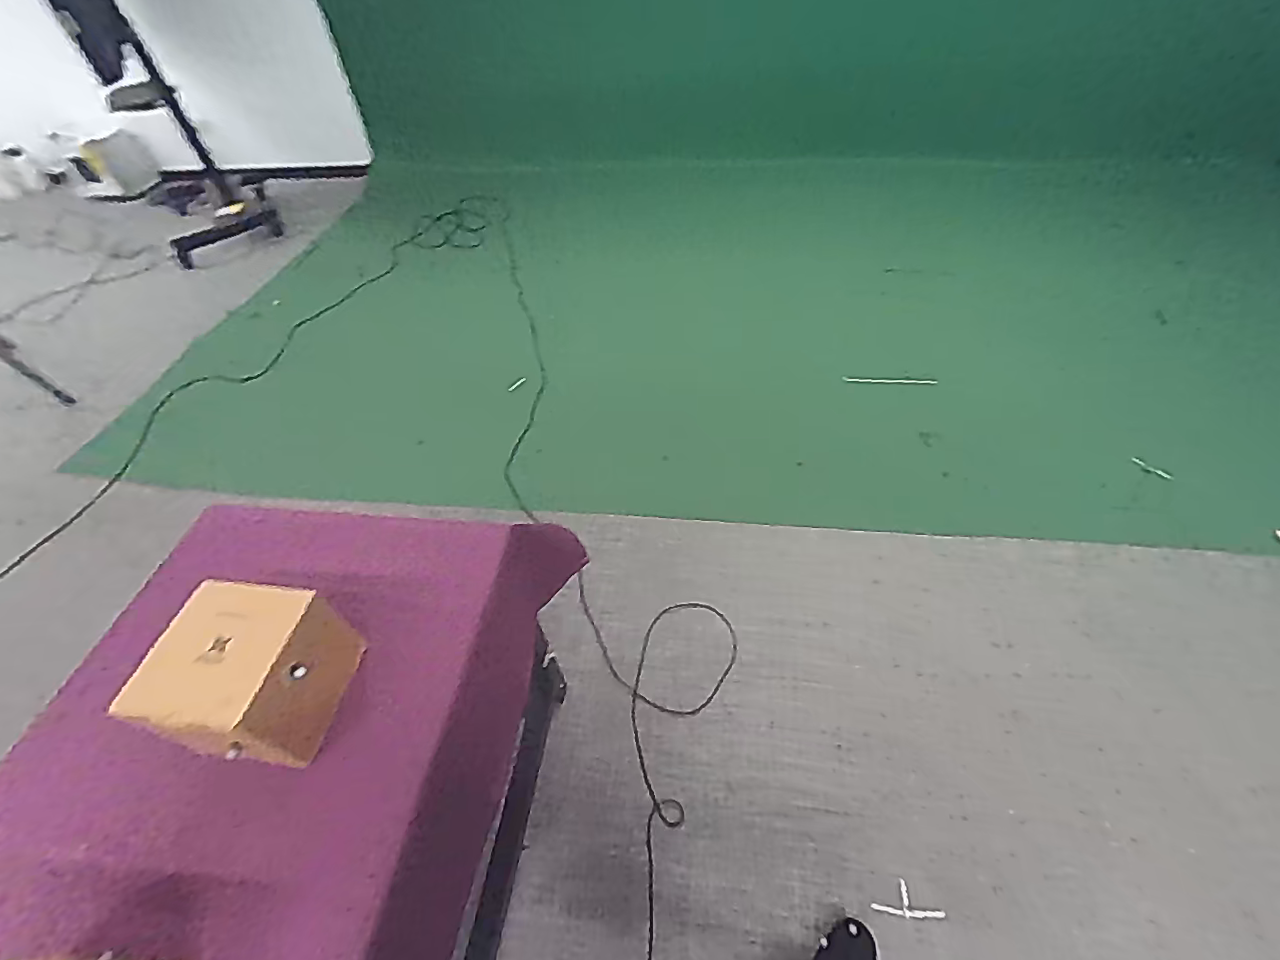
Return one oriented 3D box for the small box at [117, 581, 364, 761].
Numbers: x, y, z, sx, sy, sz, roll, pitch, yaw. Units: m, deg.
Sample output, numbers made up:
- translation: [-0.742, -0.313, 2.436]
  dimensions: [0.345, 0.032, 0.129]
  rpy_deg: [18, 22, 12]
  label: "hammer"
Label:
- translation: [-0.510, 0.260, 0.728]
  dimensions: [0.168, 0.176, 0.179]
  rpy_deg: [4, 50, 7]
  label: "small box"
